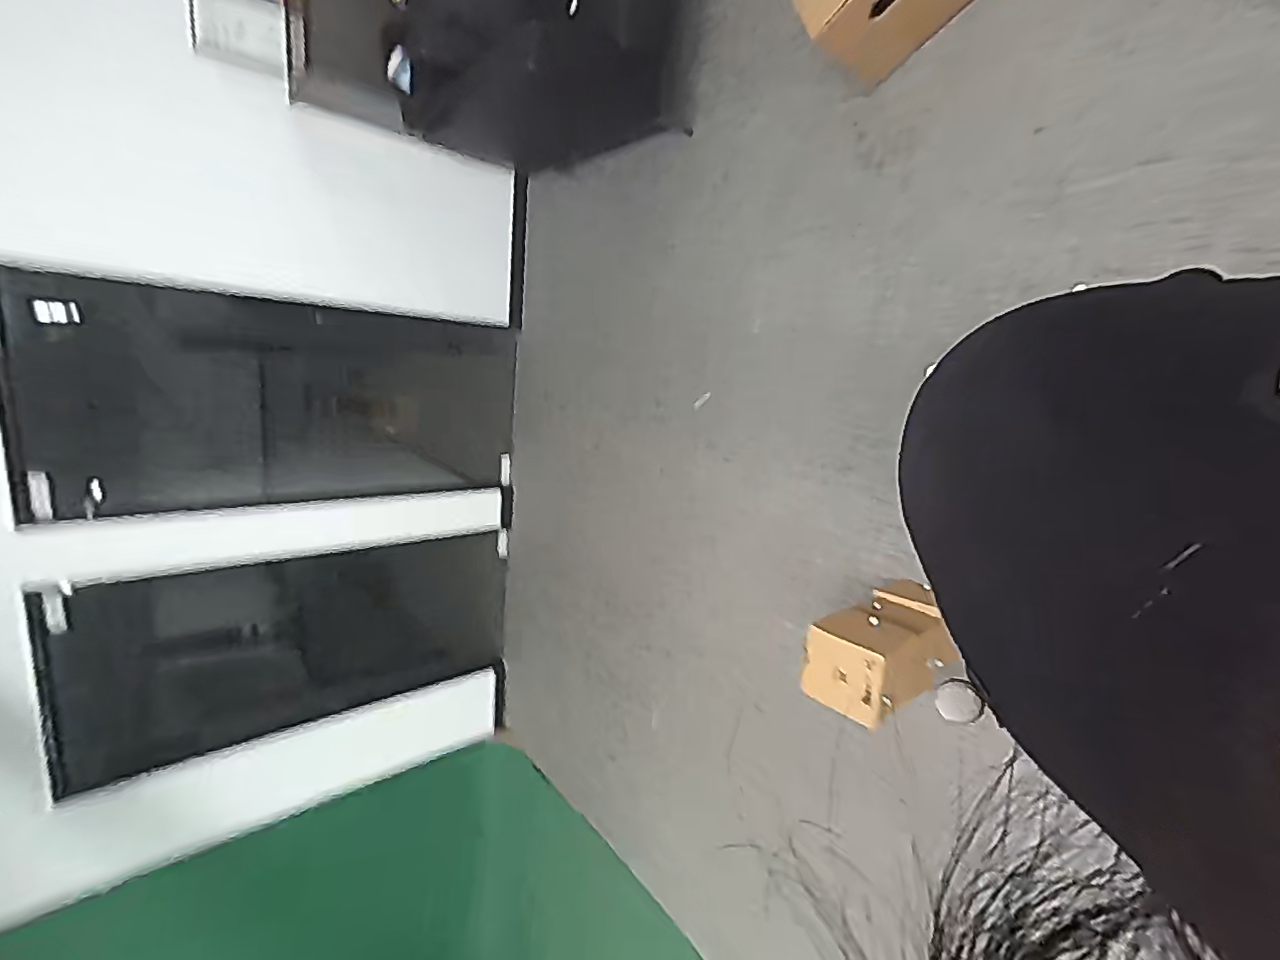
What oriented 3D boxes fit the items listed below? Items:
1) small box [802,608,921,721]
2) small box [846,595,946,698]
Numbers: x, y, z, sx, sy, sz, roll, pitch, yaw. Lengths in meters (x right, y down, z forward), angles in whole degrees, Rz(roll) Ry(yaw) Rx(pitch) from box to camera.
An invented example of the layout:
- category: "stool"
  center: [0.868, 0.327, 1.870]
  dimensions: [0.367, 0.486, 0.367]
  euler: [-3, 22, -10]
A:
- category: "small box"
  center: [0.492, 0.398, 1.207]
  dimensions: [0.179, 0.176, 0.168]
  euler: [16, 106, 49]
- category: "small box"
  center: [0.612, 0.393, 1.318]
  dimensions: [0.179, 0.176, 0.168]
  euler: [15, 106, 47]
